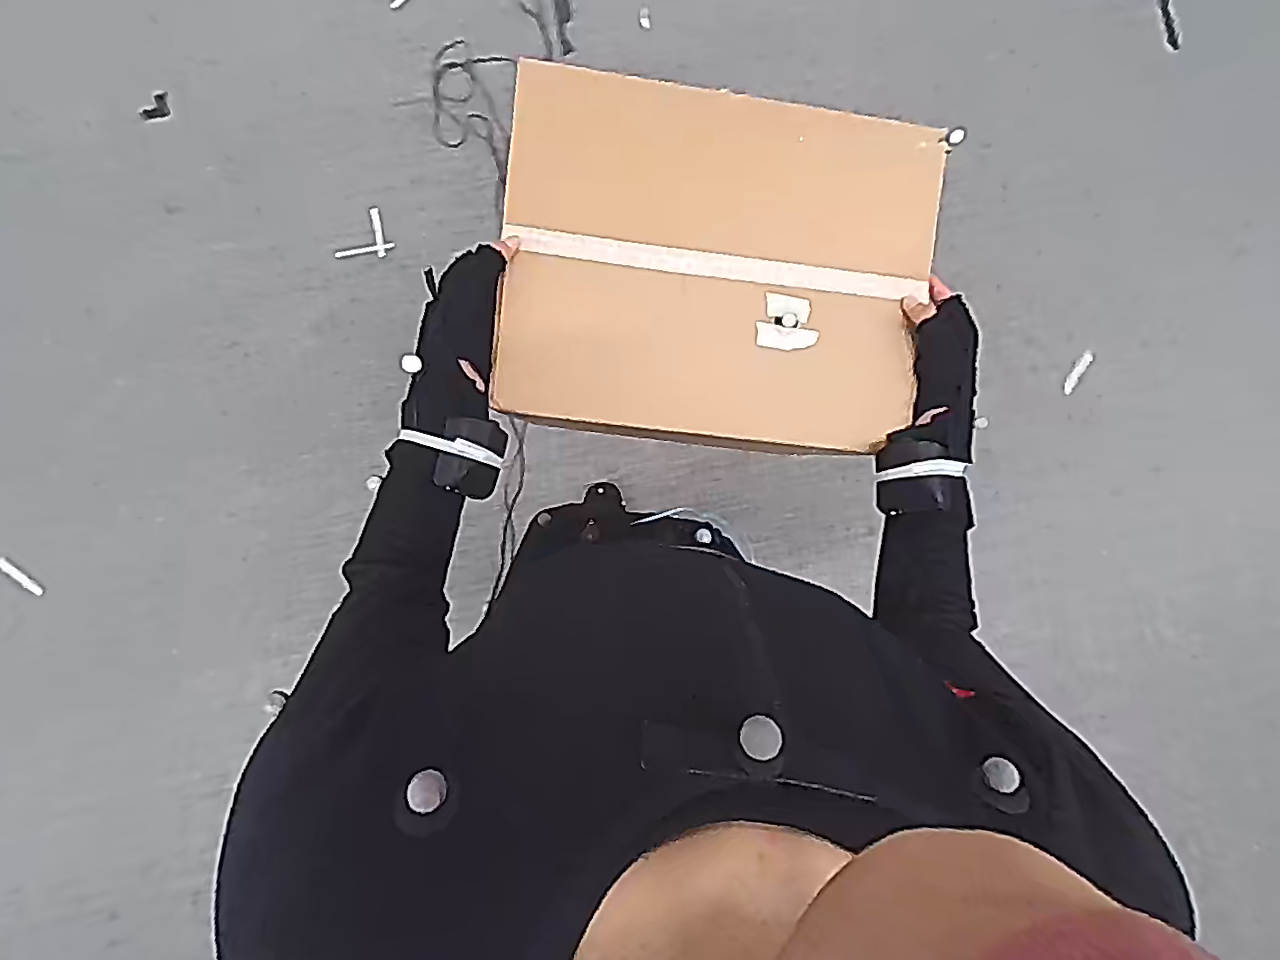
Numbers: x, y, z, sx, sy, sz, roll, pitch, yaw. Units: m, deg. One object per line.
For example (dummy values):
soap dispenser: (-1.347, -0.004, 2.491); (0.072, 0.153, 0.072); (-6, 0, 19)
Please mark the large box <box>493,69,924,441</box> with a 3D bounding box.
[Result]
large box: (0.054, -0.218, 0.665); (0.408, 0.320, 0.320); (5, 94, -6)
